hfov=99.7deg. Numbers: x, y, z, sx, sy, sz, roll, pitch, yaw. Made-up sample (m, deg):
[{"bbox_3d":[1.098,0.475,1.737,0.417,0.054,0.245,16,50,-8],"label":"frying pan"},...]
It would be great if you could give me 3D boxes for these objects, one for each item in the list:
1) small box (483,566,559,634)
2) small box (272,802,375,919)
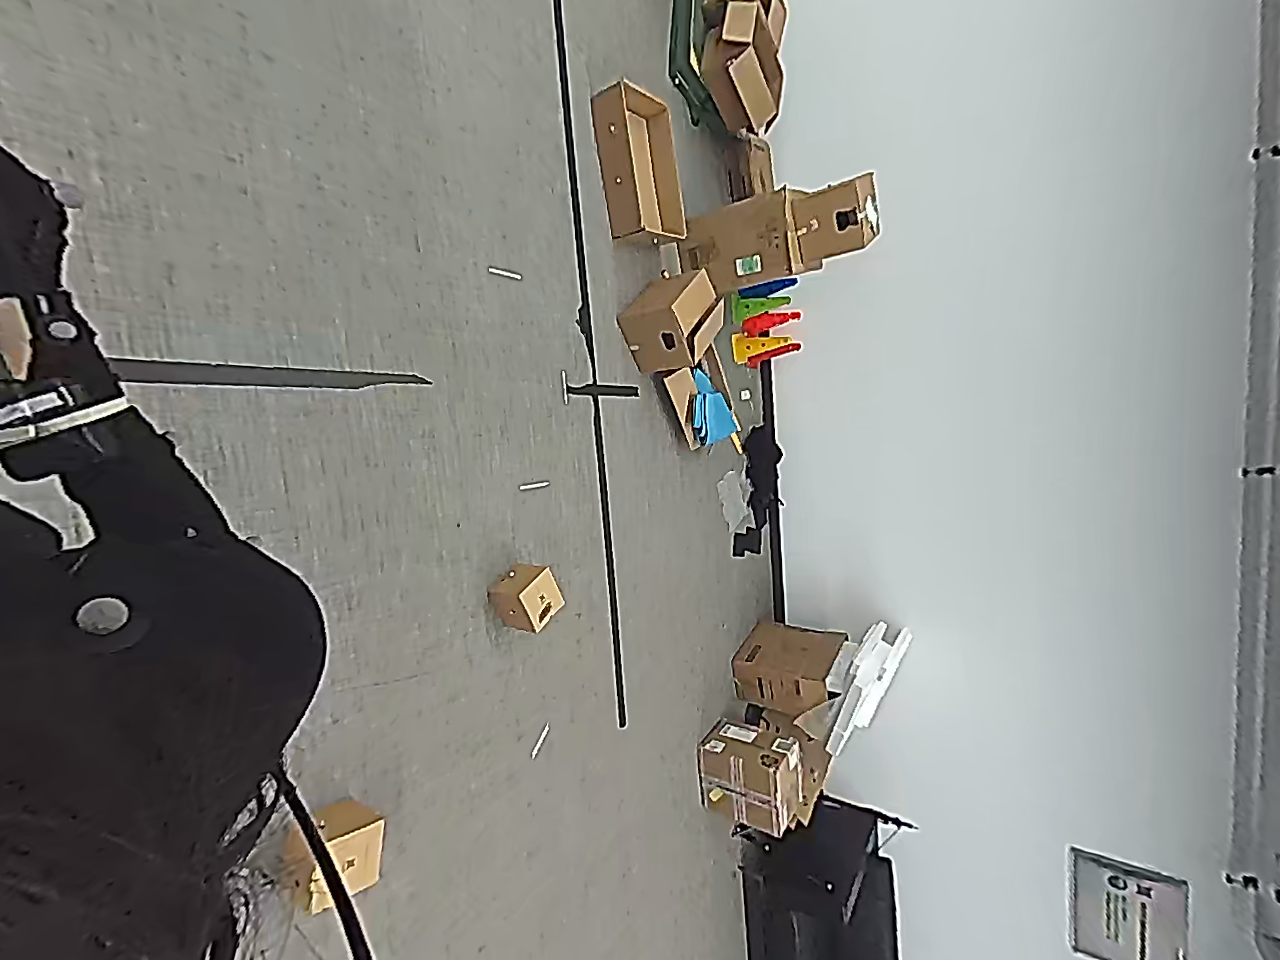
[{"bbox_3d":[-0.431,0.428,1.961,0.168,0.176,0.179,-45,124,-46],"label":"small box"},{"bbox_3d":[-0.824,0.976,1.405,0.179,0.176,0.168,10,83,-56],"label":"small box"}]
